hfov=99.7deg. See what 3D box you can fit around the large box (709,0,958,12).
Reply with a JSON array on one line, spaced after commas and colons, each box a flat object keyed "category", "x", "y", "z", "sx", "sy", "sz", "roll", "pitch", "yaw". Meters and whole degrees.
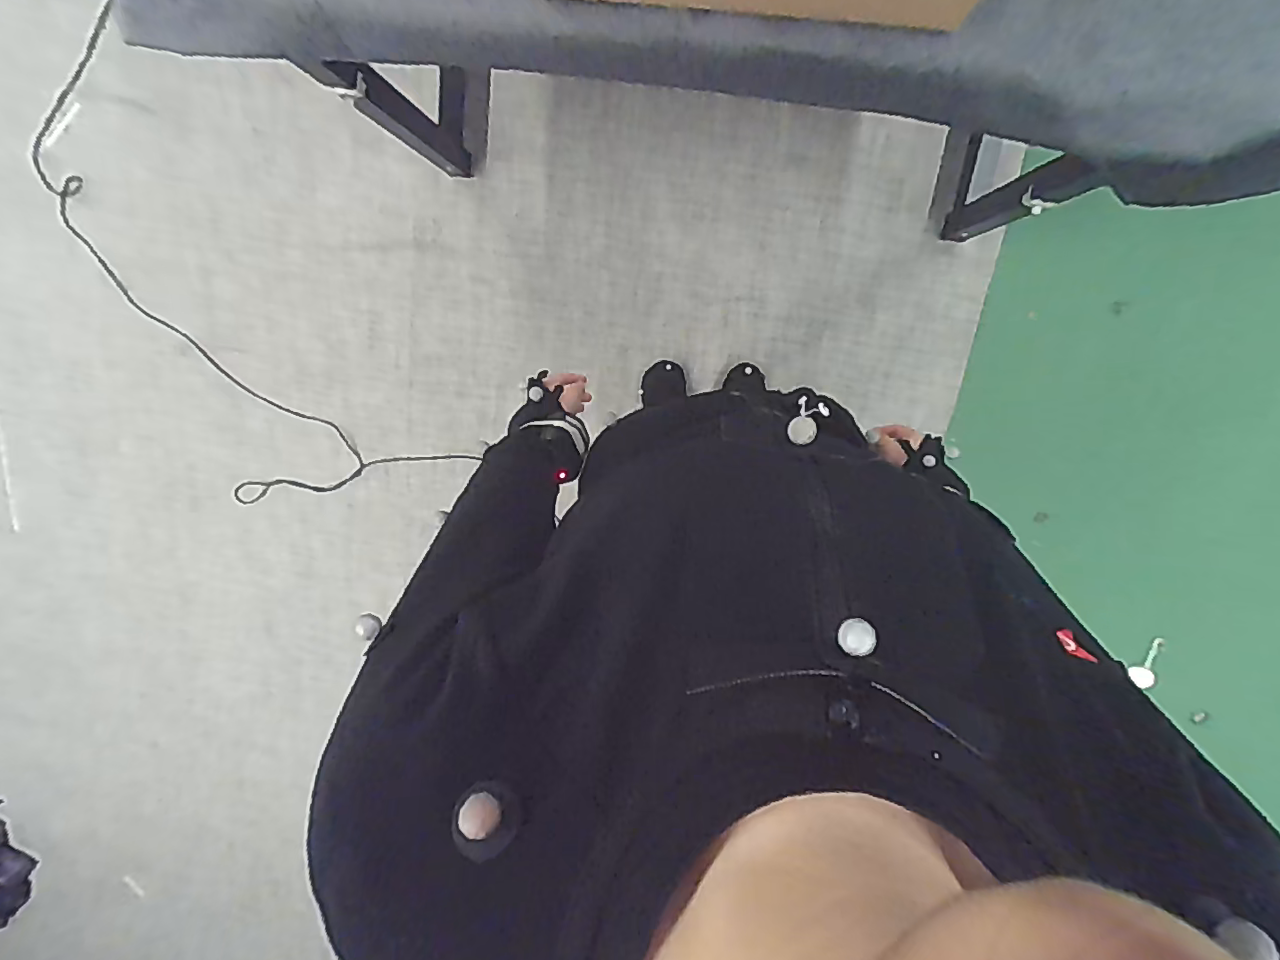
[{"category": "large box", "x": 0.099, "y": -0.572, "z": 0.340, "sx": 0.408, "sy": 0.320, "sz": 0.320, "roll": 7, "pitch": 103, "yaw": 2}]
